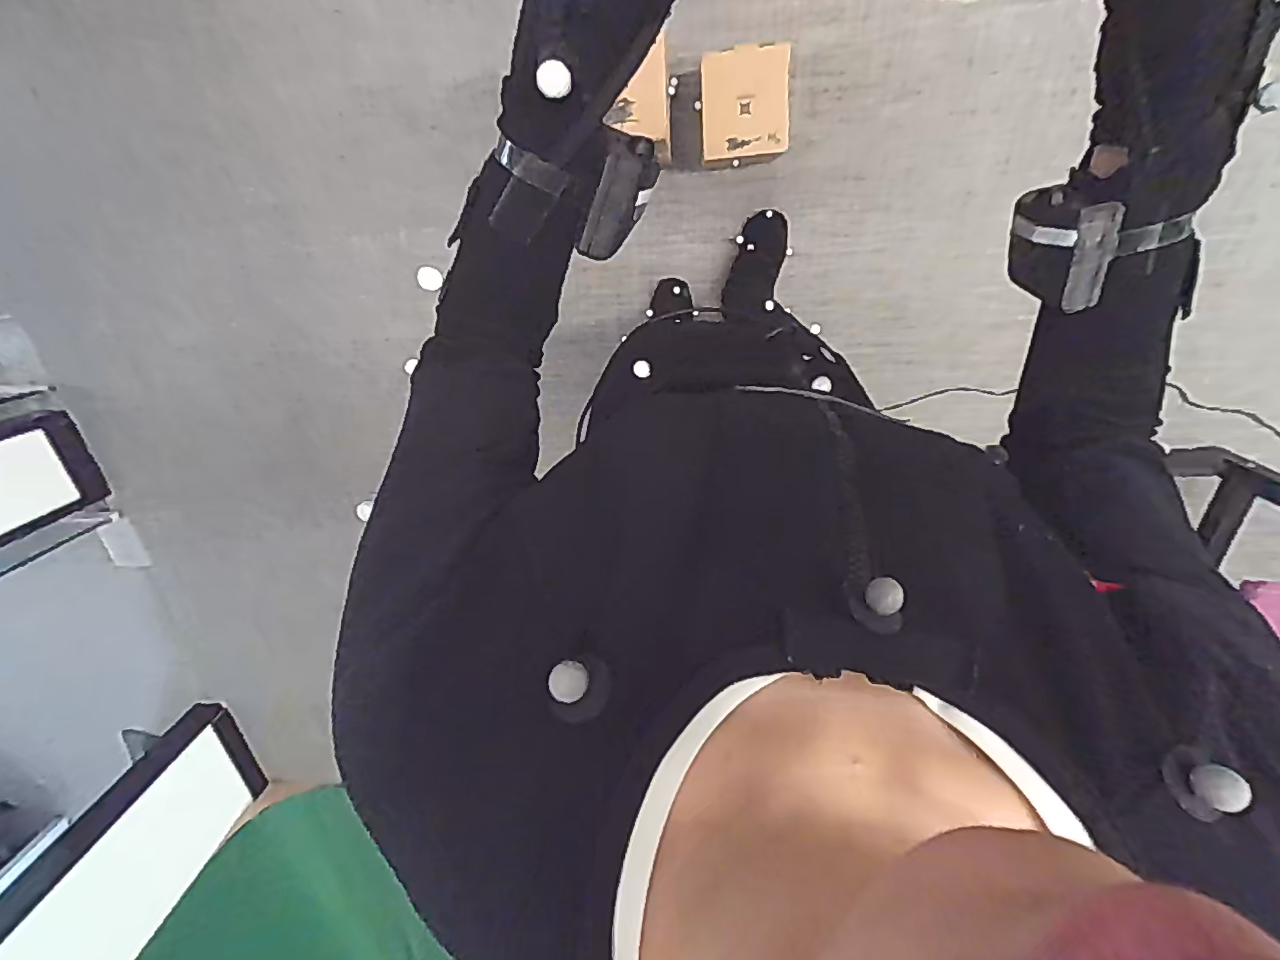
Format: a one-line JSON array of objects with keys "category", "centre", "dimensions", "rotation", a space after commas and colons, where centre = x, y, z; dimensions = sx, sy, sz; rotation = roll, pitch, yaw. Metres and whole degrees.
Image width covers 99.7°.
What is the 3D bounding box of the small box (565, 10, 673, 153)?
[{"category": "small box", "centre": [-0.028, -0.688, 0.957], "dimensions": [0.168, 0.176, 0.179], "rotation": [-1, 115, 6]}]
